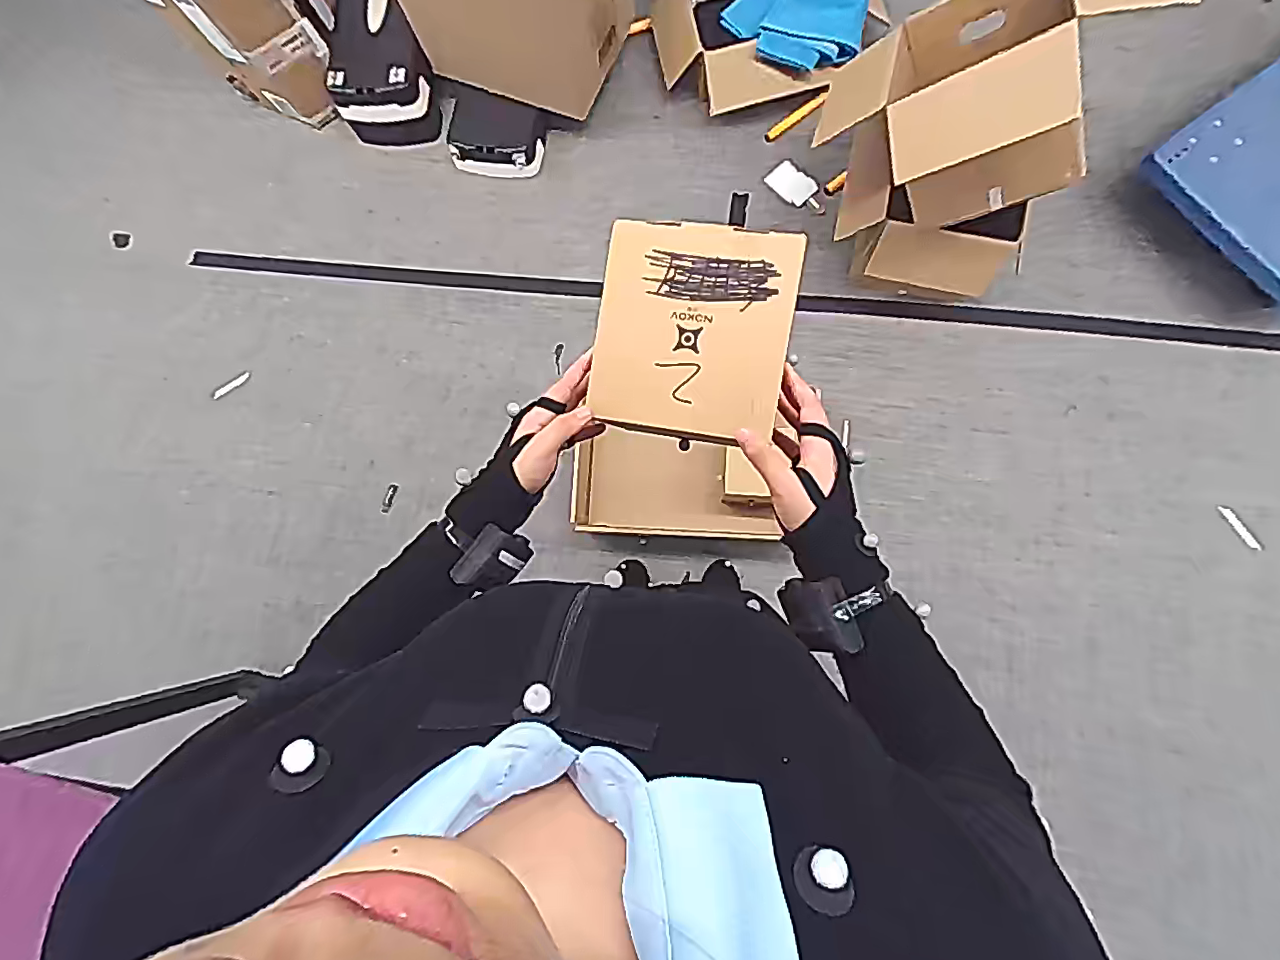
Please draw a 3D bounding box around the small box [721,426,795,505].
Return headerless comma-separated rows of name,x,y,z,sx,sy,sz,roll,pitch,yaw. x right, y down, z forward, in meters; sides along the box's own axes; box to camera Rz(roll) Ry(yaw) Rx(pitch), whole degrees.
small box,0.299,-0.032,1.398,0.168,0.176,0.179,4,81,5
